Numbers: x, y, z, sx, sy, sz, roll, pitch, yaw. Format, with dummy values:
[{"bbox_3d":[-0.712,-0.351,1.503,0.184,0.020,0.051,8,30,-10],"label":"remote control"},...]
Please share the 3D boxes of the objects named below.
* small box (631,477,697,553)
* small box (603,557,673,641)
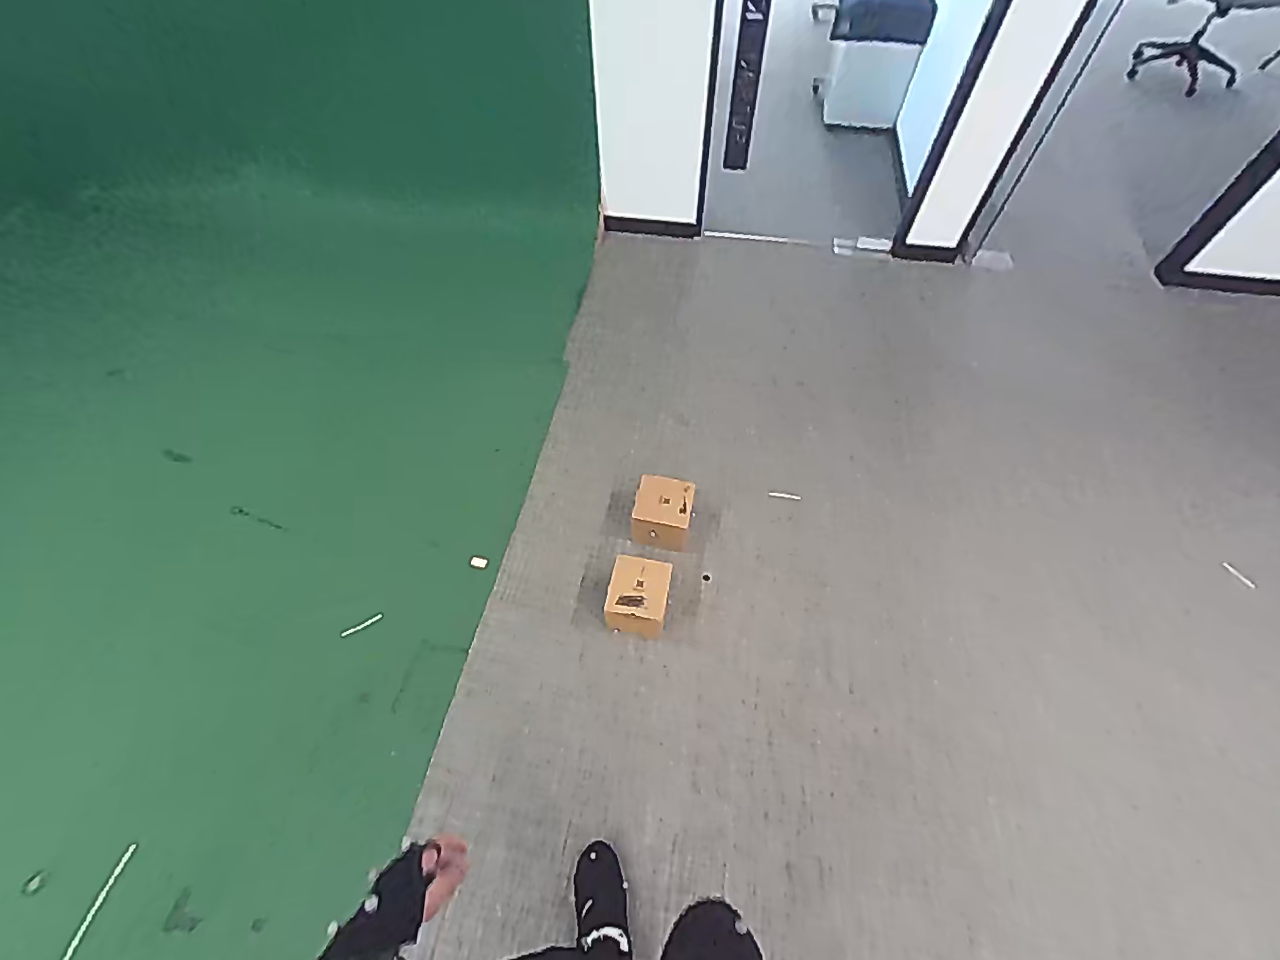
[{"bbox_3d":[0.076,0.114,1.710,0.179,0.176,0.168,10,57,8],"label":"small box"},{"bbox_3d":[-0.002,0.346,1.556,0.168,0.176,0.179,10,56,6],"label":"small box"}]
